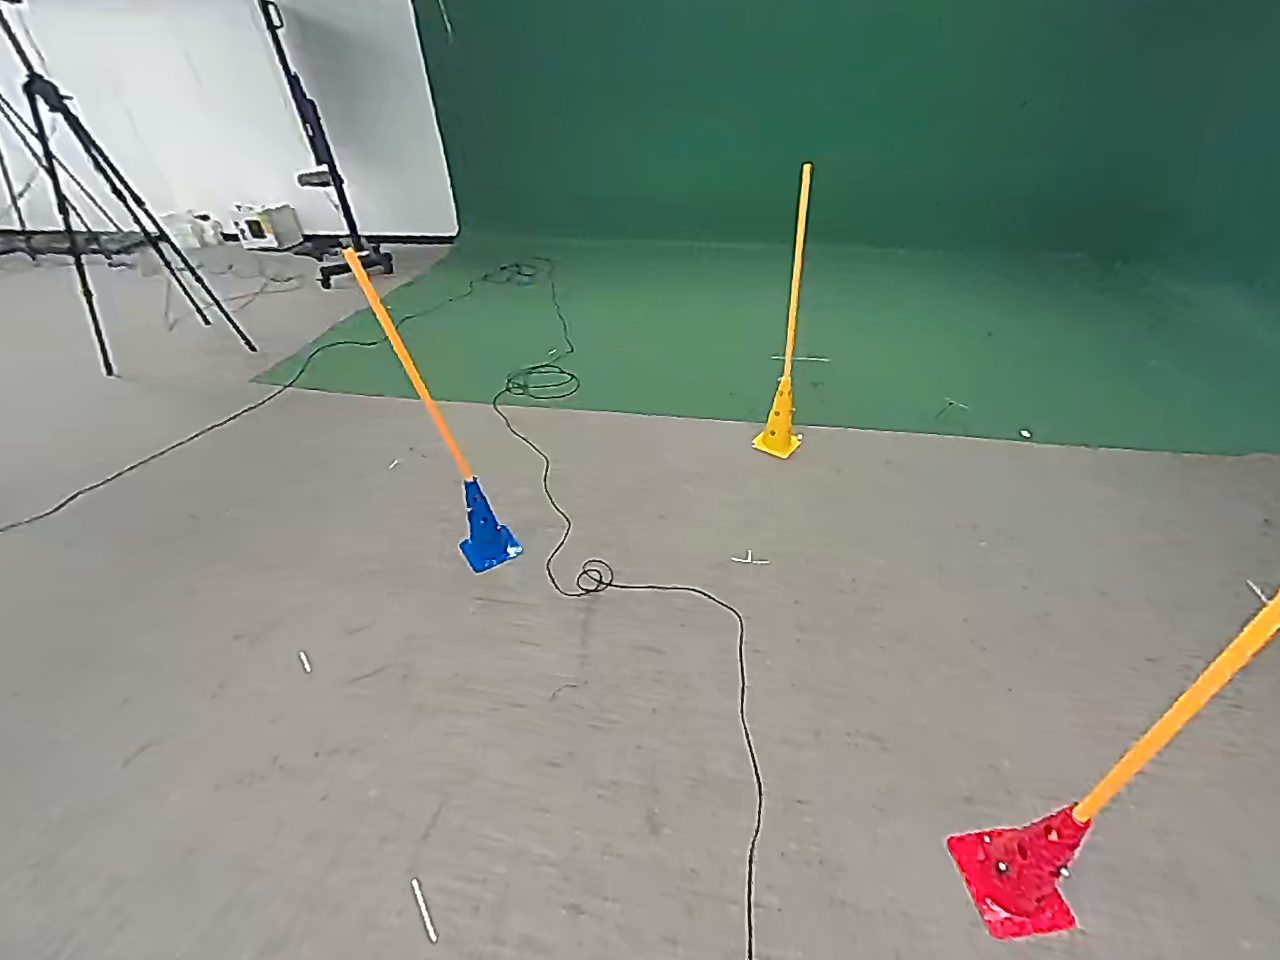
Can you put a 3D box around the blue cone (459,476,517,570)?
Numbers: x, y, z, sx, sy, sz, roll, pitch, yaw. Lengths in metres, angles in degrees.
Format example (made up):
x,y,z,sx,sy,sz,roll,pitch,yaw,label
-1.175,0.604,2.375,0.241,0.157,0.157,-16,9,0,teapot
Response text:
x,y,z,sx,sy,sz,roll,pitch,yaw,label
-0.605,0.144,2.027,0.193,0.380,0.192,-26,45,-25,blue cone
